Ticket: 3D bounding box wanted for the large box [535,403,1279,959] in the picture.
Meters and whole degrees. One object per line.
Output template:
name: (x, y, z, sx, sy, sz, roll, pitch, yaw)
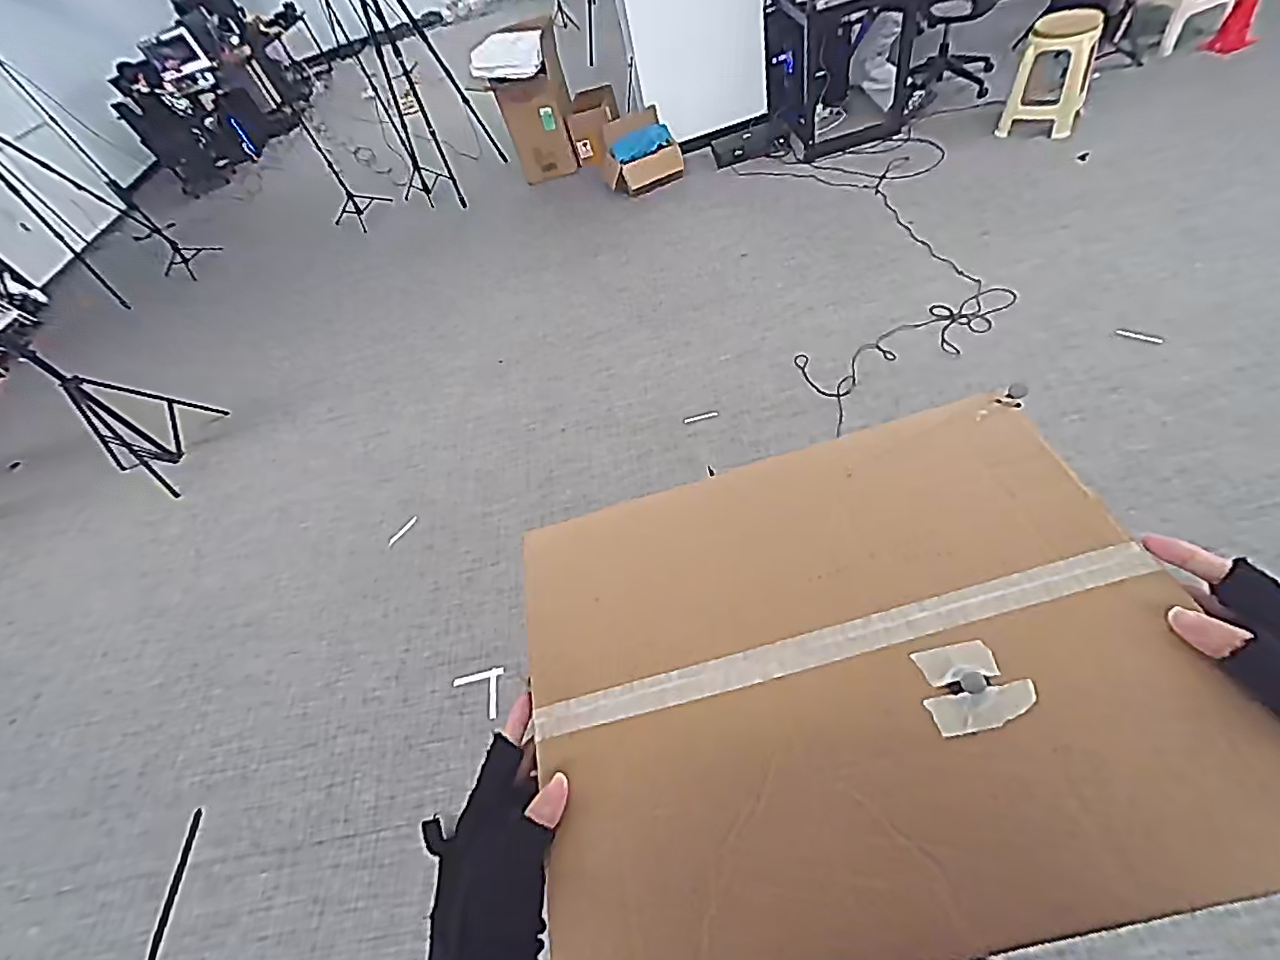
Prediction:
large box: (0.159, 0.196, 0.483, 0.408, 0.320, 0.320, -17, 53, 4)
